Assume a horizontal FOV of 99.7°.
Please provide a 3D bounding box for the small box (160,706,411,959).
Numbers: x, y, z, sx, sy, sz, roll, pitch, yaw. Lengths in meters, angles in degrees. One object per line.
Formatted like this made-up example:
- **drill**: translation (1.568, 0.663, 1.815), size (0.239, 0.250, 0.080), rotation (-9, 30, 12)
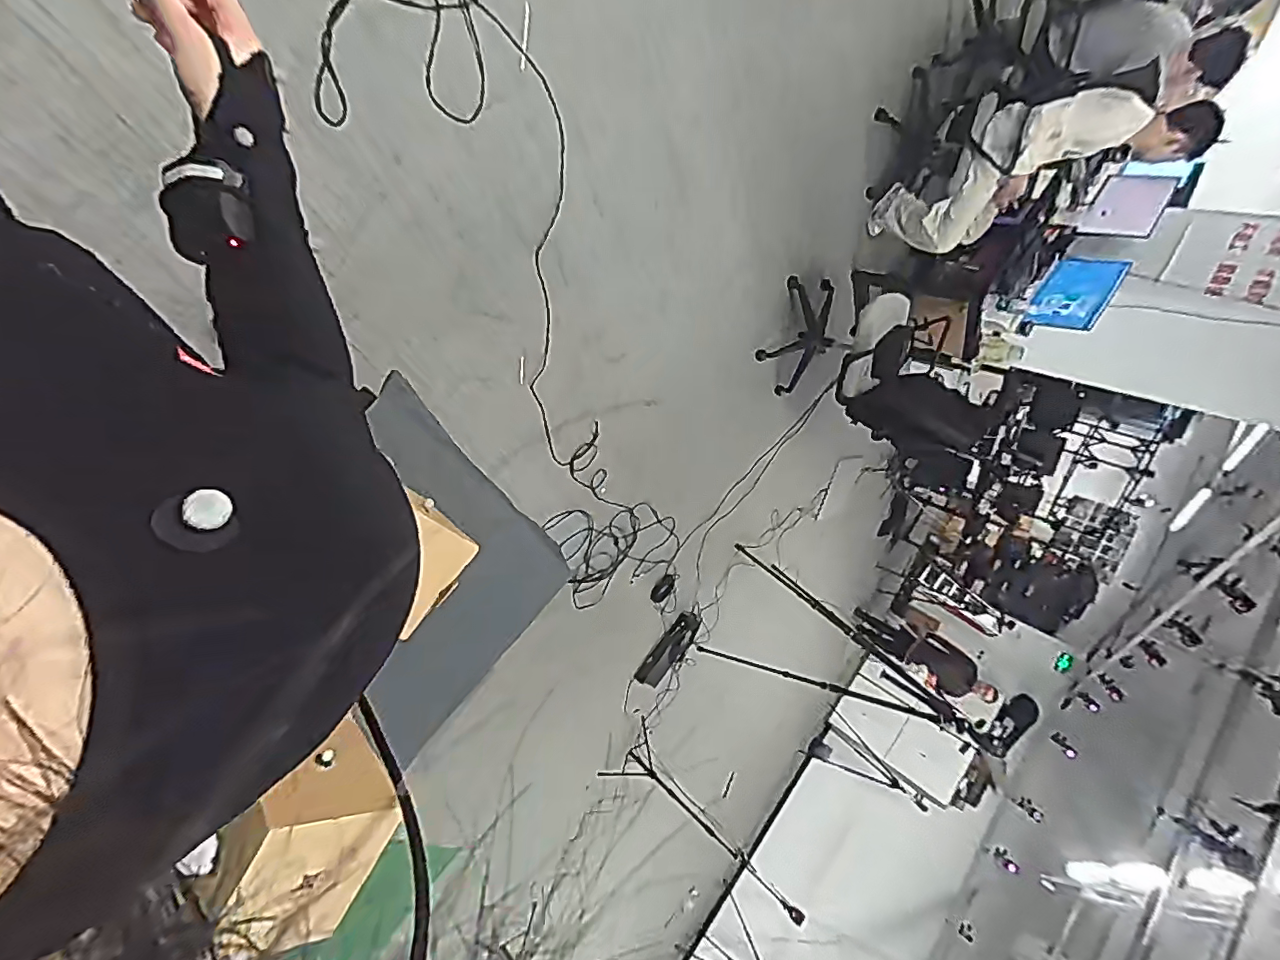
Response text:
- **small box**: translation (-0.416, 0.389, 0.635), size (0.179, 0.176, 0.168), rotation (-59, 143, -3)

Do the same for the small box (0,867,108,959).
- **small box**: translation (-0.765, 0.594, 0.622), size (0.168, 0.176, 0.179), rotation (-41, 139, -27)

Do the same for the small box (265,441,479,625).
- **small box**: translation (-0.371, 0.070, 0.757), size (0.168, 0.176, 0.179), rotation (-54, 143, -10)
